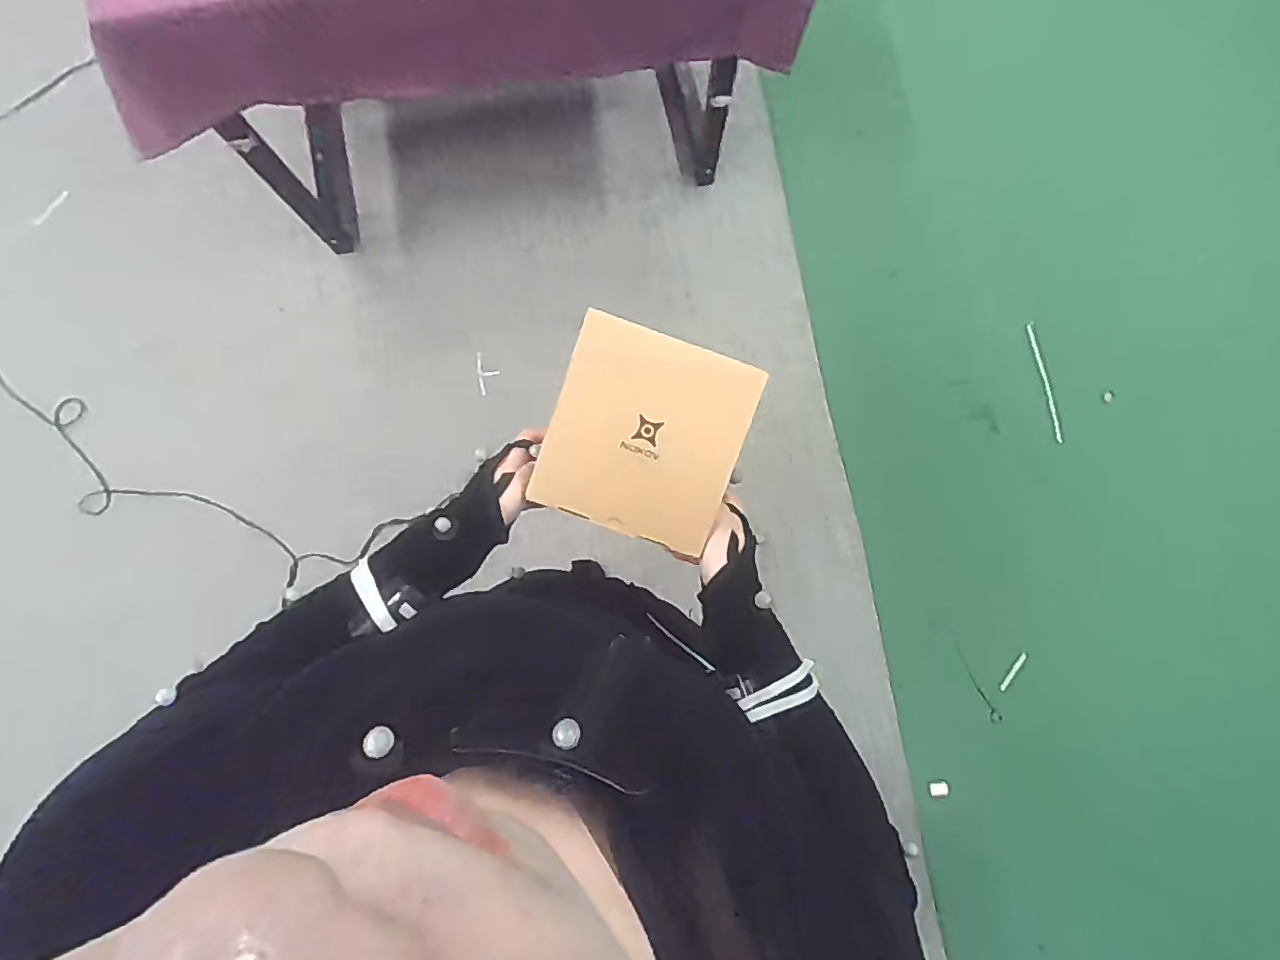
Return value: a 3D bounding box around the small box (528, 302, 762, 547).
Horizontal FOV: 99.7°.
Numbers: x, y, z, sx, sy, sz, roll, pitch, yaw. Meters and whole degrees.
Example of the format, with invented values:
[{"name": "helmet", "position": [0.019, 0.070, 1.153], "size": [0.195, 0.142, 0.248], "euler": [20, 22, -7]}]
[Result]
[{"name": "small box", "position": [0.002, -0.056, 0.552], "size": [0.168, 0.176, 0.179], "euler": [19, 97, -2]}]
